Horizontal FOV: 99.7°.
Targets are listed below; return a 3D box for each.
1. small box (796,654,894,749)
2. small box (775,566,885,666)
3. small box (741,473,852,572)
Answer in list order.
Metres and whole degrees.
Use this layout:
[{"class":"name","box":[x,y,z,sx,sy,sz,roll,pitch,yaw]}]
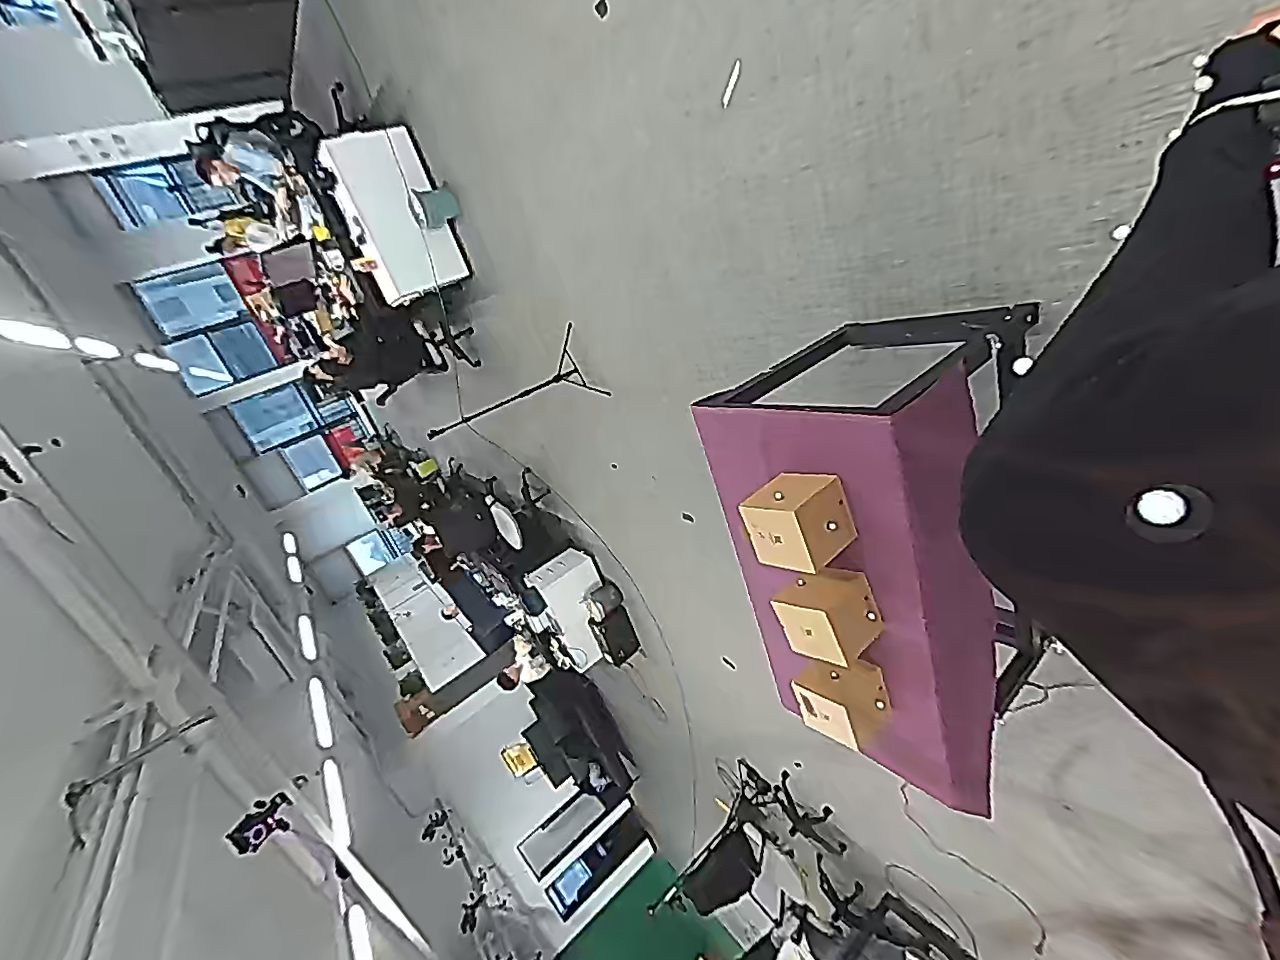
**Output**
[{"class":"small box","box":[0.571,0.596,1.505,0.179,0.176,0.168,8,125,56]},{"class":"small box","box":[0.483,0.333,1.374,0.179,0.176,0.168,-2,118,60]},{"class":"small box","box":[0.379,0.093,1.287,0.179,0.176,0.168,5,123,59]}]
